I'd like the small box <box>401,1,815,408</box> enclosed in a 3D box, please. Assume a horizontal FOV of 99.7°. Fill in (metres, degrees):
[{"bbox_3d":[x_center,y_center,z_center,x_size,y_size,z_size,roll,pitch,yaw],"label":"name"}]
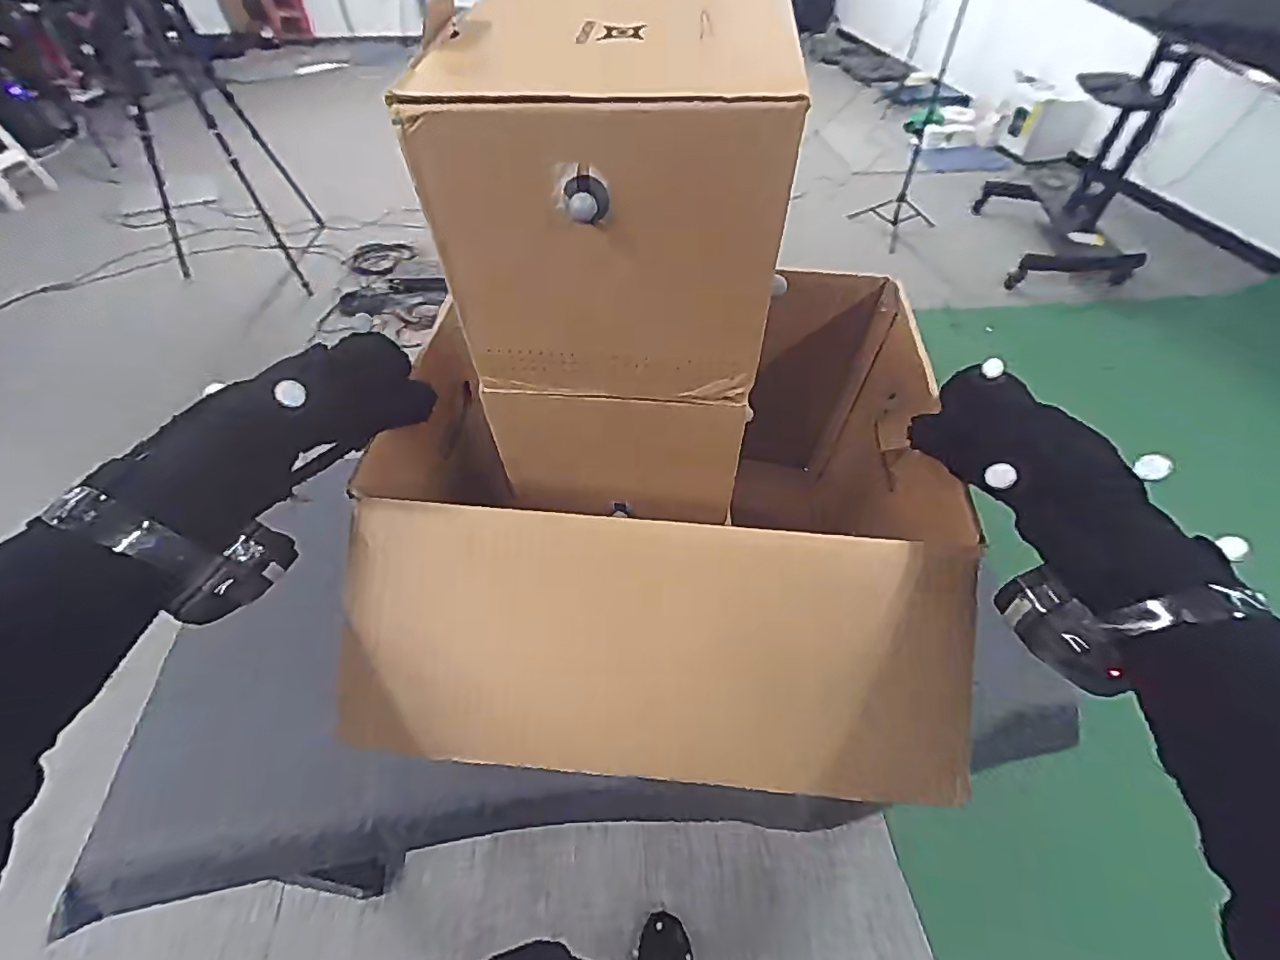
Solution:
[{"bbox_3d":[-0.007,-0.161,0.331,0.179,0.176,0.168,4,55,3],"label":"small box"}]
